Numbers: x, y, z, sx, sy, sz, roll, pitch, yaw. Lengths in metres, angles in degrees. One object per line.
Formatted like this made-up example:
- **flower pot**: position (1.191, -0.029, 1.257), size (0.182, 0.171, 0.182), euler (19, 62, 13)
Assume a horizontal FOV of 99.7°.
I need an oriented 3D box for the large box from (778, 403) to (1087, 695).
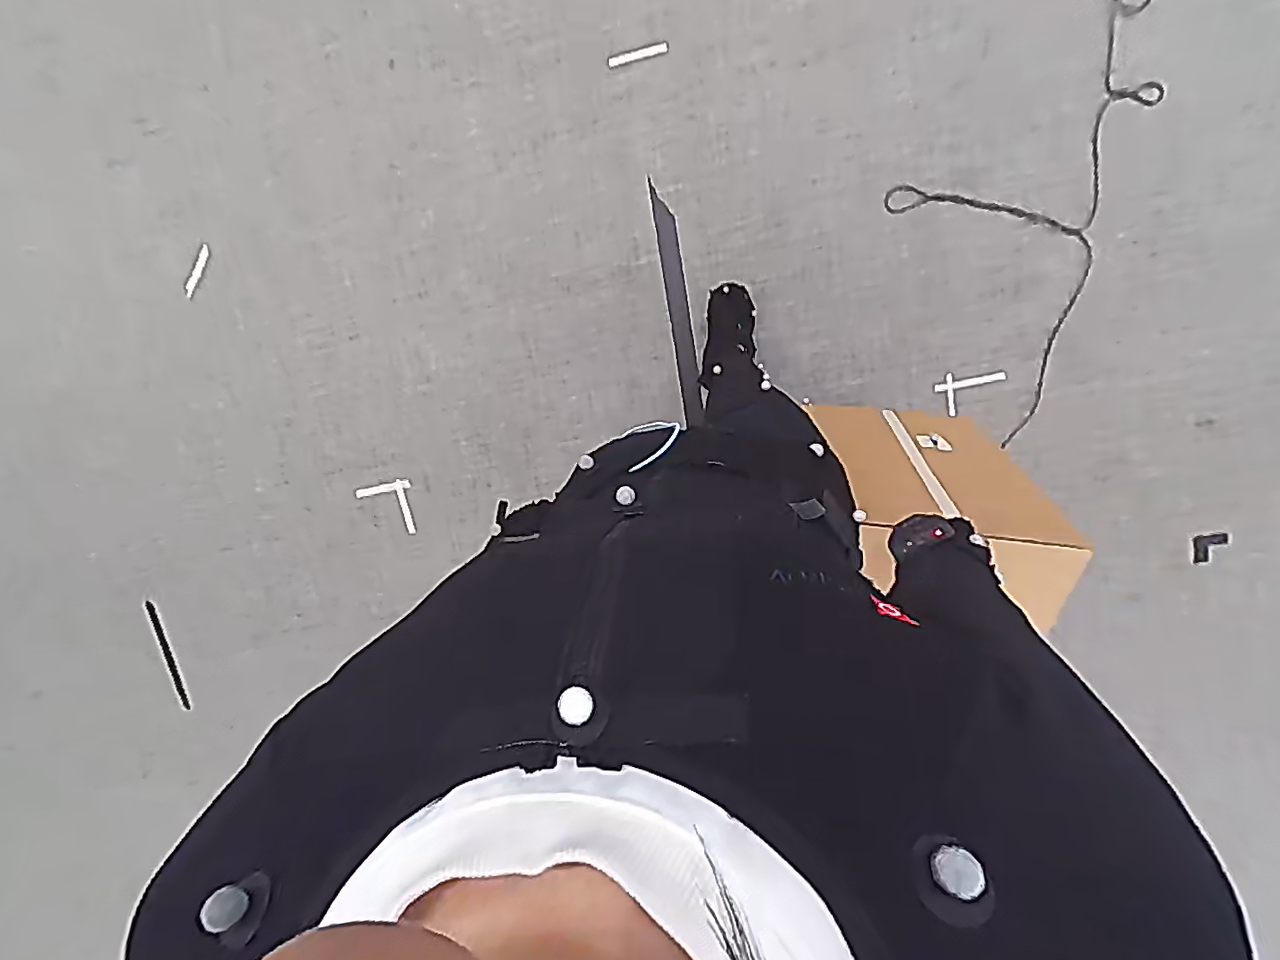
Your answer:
- **large box**: position (0.426, 0.093, 0.922), size (0.320, 0.408, 0.320), euler (6, 119, 6)
